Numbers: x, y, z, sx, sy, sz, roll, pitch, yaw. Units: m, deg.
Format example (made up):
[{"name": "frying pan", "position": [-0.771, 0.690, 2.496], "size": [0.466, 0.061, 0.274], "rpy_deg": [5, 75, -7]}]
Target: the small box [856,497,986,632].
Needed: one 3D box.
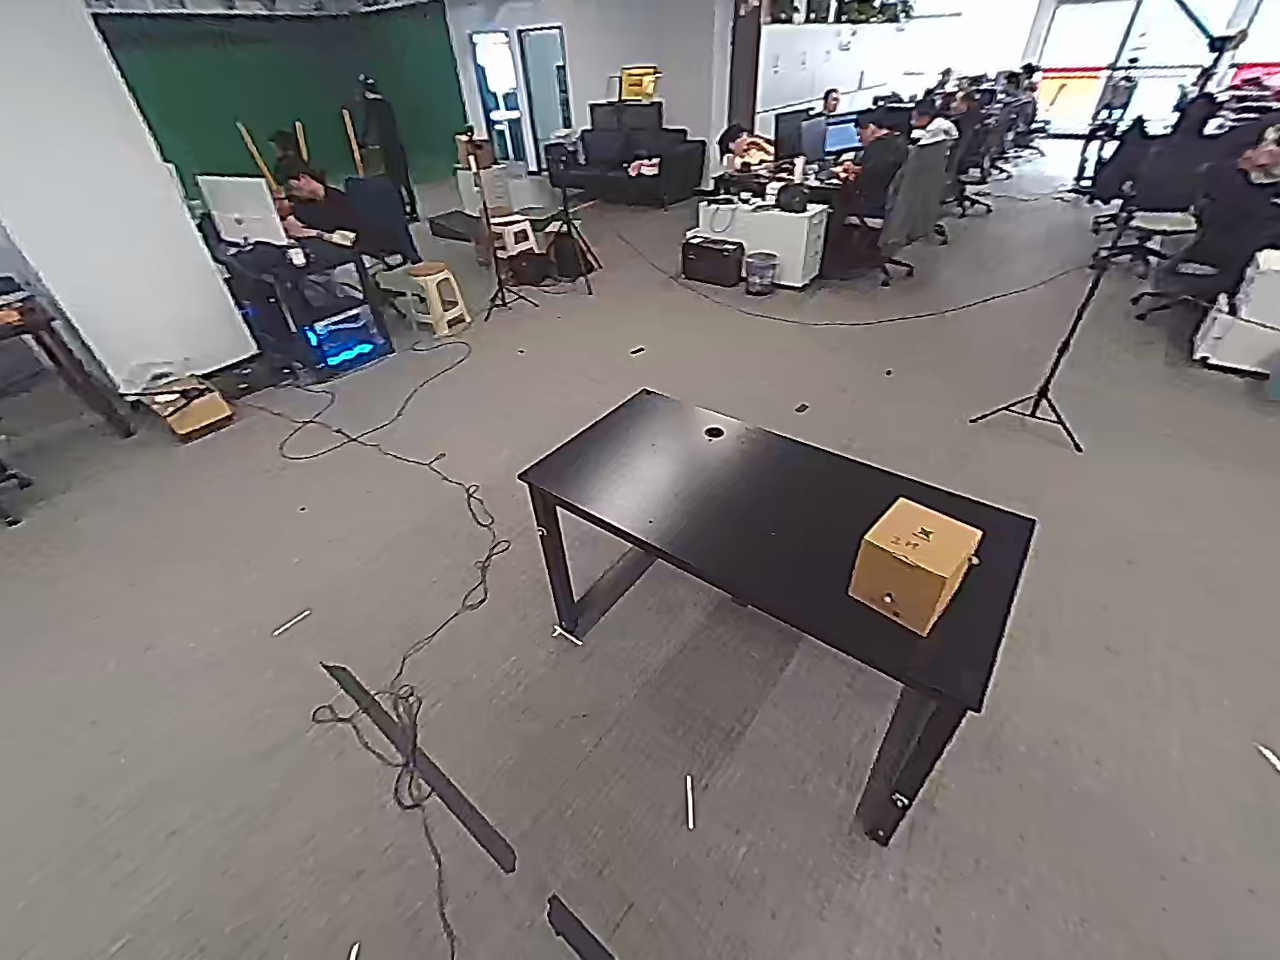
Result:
[{"name": "small box", "position": [0.564, 0.171, 1.105], "size": [0.179, 0.176, 0.168], "rpy_deg": [-33, 46, -32]}]
